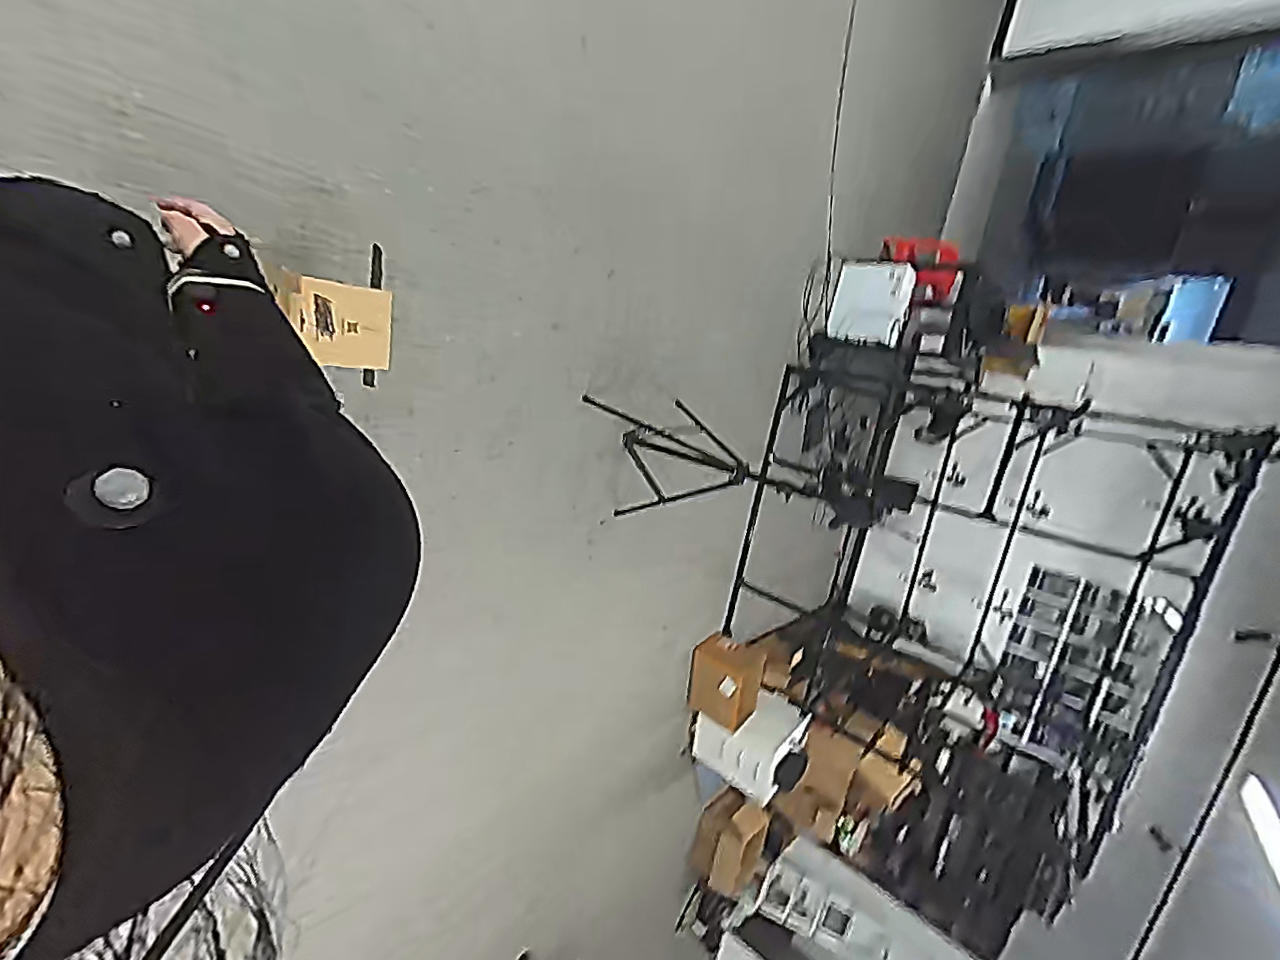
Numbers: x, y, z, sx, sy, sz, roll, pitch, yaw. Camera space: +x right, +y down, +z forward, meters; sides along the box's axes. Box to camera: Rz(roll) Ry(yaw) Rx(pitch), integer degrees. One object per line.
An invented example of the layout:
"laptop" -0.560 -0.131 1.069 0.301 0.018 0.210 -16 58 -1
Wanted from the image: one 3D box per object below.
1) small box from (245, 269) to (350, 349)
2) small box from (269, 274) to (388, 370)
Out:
"small box" -0.783 -0.383 1.240 0.179 0.176 0.168 -9 113 -50
"small box" -0.661 -0.333 1.142 0.179 0.176 0.168 -7 112 -50
